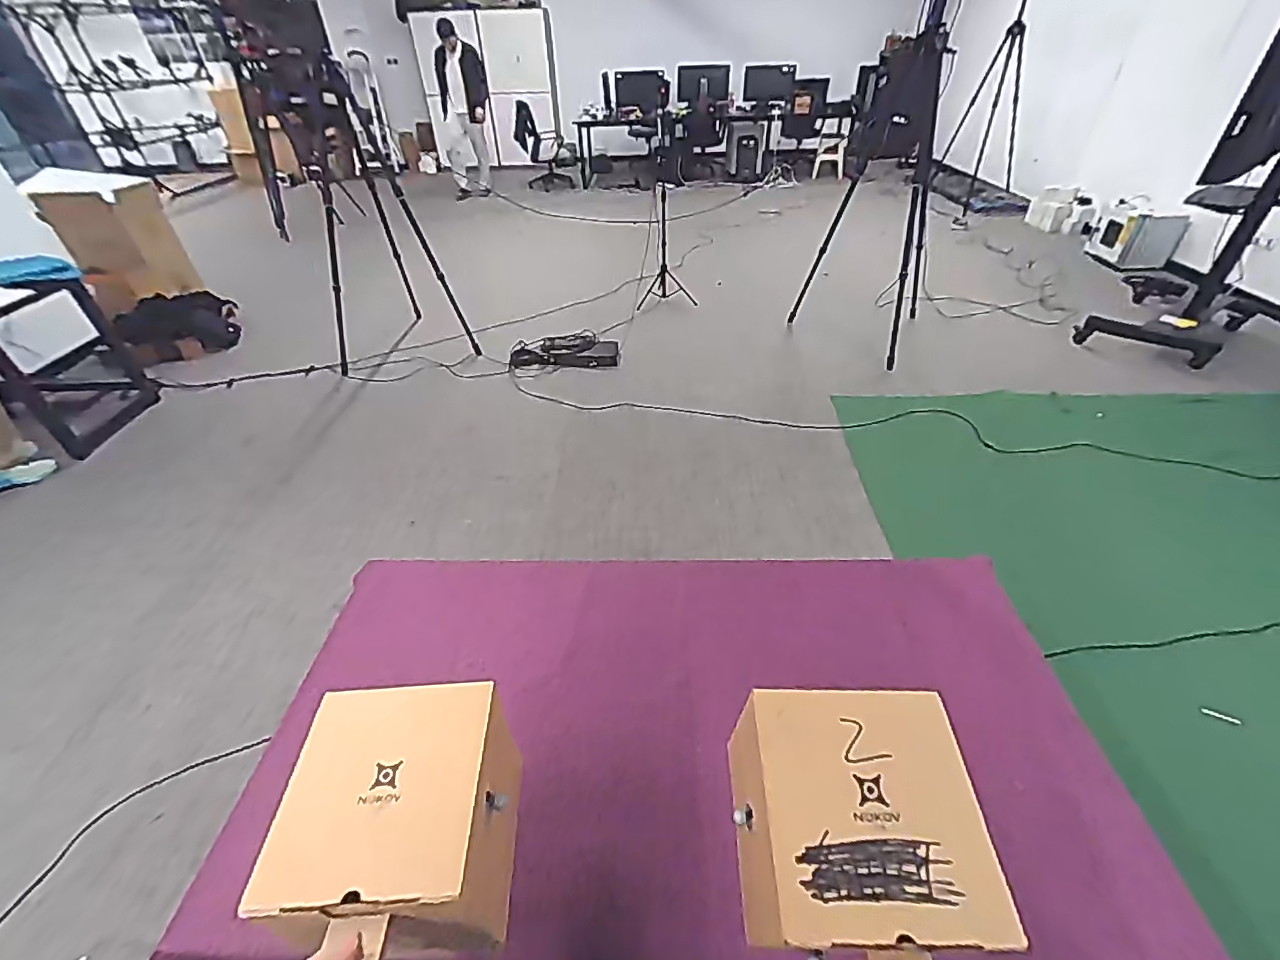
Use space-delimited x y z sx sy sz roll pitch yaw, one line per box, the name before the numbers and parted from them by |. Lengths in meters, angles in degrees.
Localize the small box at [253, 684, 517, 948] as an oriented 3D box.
small box | -0.221 0.326 0.531 0.168 0.176 0.179 -3 41 -2
